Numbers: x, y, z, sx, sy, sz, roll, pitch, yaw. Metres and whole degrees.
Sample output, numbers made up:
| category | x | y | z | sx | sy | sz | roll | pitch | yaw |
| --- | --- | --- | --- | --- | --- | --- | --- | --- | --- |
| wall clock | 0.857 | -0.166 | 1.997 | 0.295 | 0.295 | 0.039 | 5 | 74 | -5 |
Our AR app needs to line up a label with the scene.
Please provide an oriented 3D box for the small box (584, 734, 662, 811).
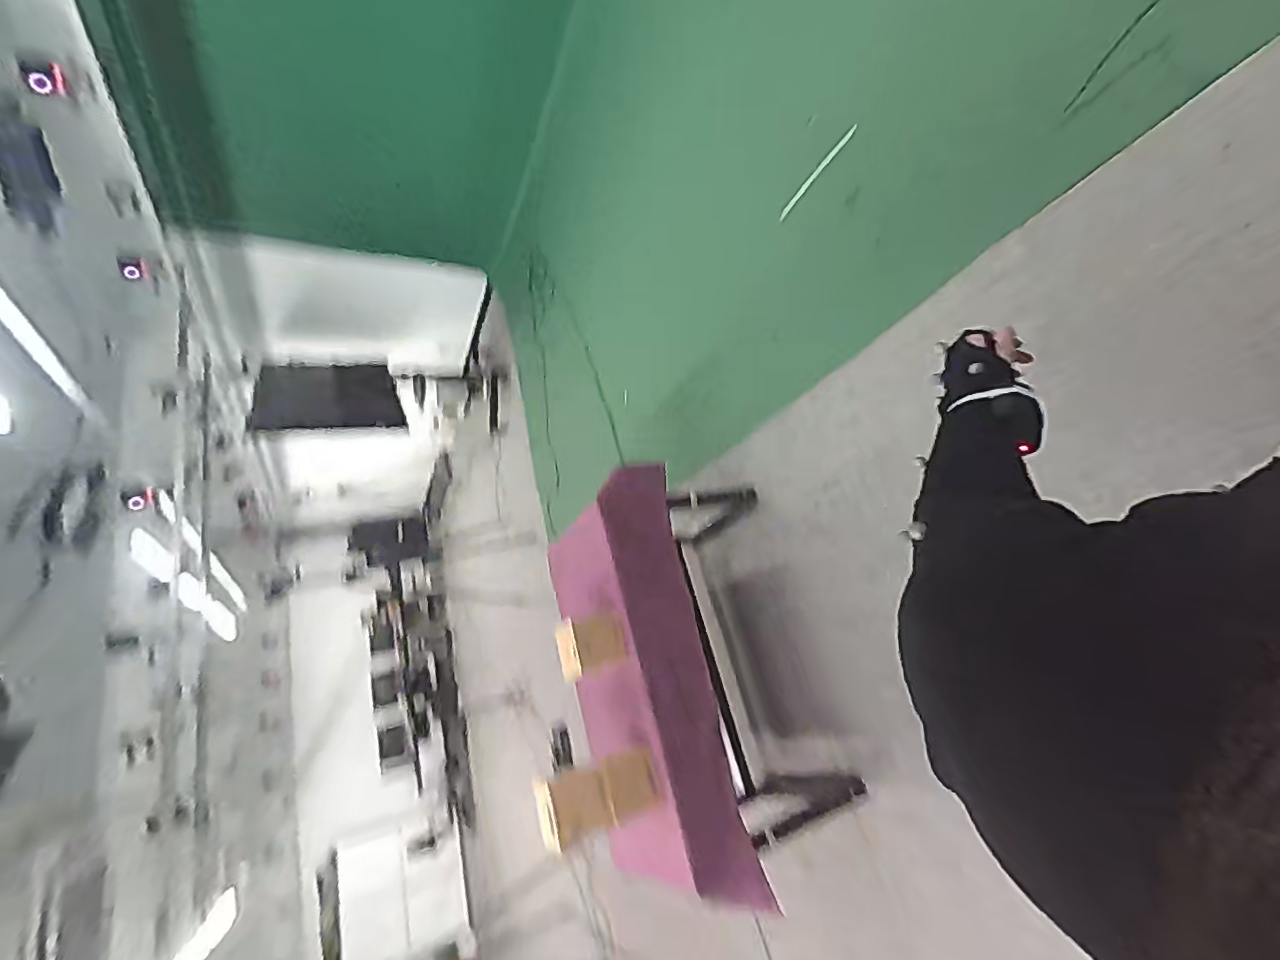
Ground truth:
| category | x | y | z | sx | sy | sz | roll | pitch | yaw |
| --- | --- | --- | --- | --- | --- | --- | --- | --- | --- |
| small box | -0.054 | 0.897 | 1.671 | 0.179 | 0.176 | 0.168 | -43 | 58 | 54 |

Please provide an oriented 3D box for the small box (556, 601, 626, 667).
| category | x | y | z | sx | sy | sz | roll | pitch | yaw |
| --- | --- | --- | --- | --- | --- | --- | --- | --- | --- |
| small box | -0.165 | 0.519 | 1.817 | 0.179 | 0.176 | 0.168 | -46 | 56 | 54 |
